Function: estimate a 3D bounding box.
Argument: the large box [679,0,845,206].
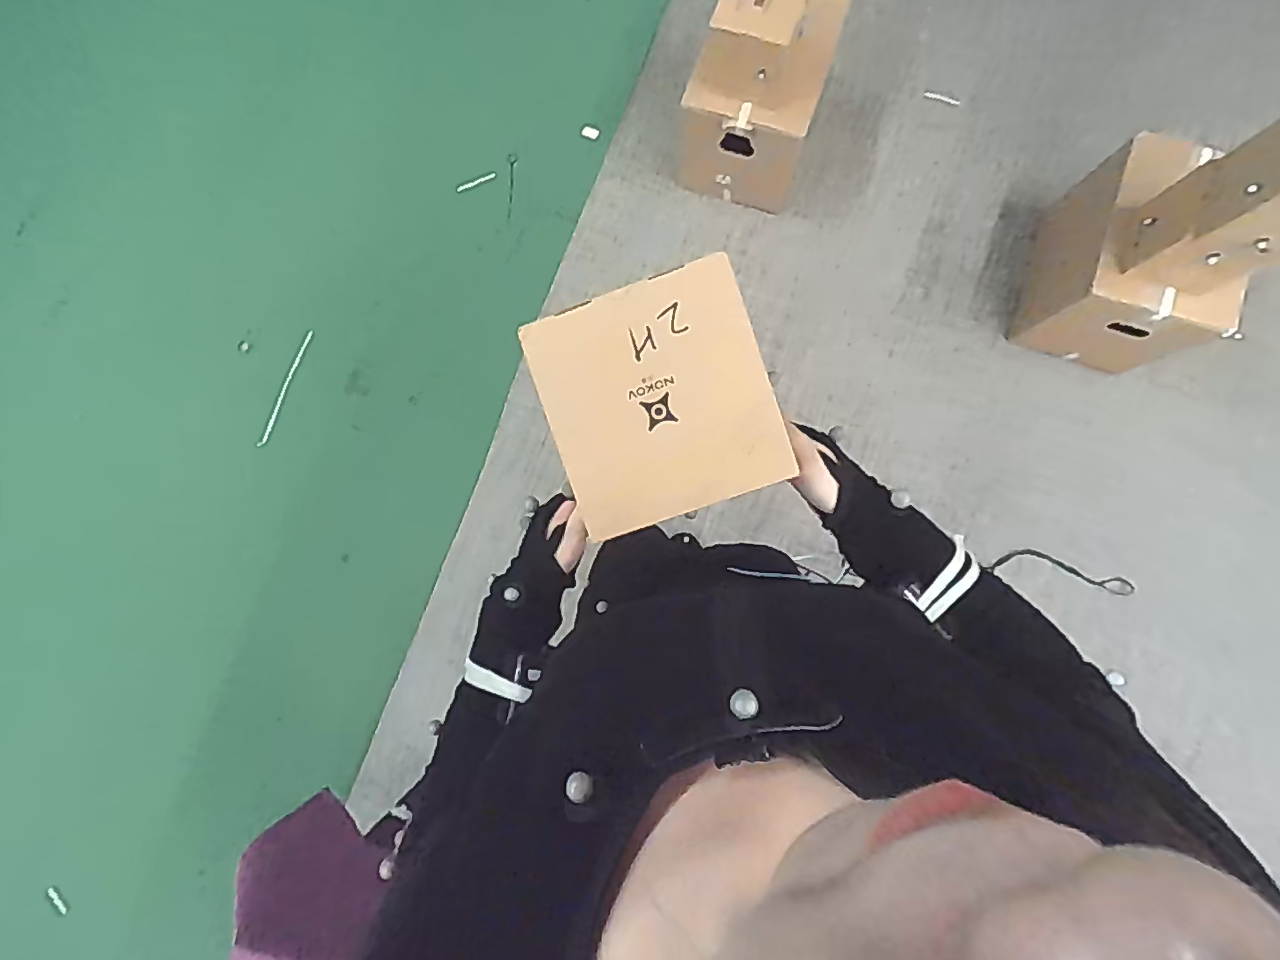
[{"bbox_3d":[0.307,-1.031,1.446,0.320,0.320,0.408,19,86,5],"label":"large box"}]

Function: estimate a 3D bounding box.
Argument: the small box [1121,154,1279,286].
[{"bbox_3d":[1.160,-0.523,1.111,0.179,0.176,0.168,17,87,6],"label":"small box"}]

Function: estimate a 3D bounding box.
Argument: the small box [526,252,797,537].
[{"bbox_3d":[0.022,-0.067,0.483,0.168,0.176,0.179,-18,92,5],"label":"small box"}]

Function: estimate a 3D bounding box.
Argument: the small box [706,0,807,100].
[{"bbox_3d":[0.257,-0.993,1.198,0.179,0.176,0.168,21,86,7],"label":"small box"}]
